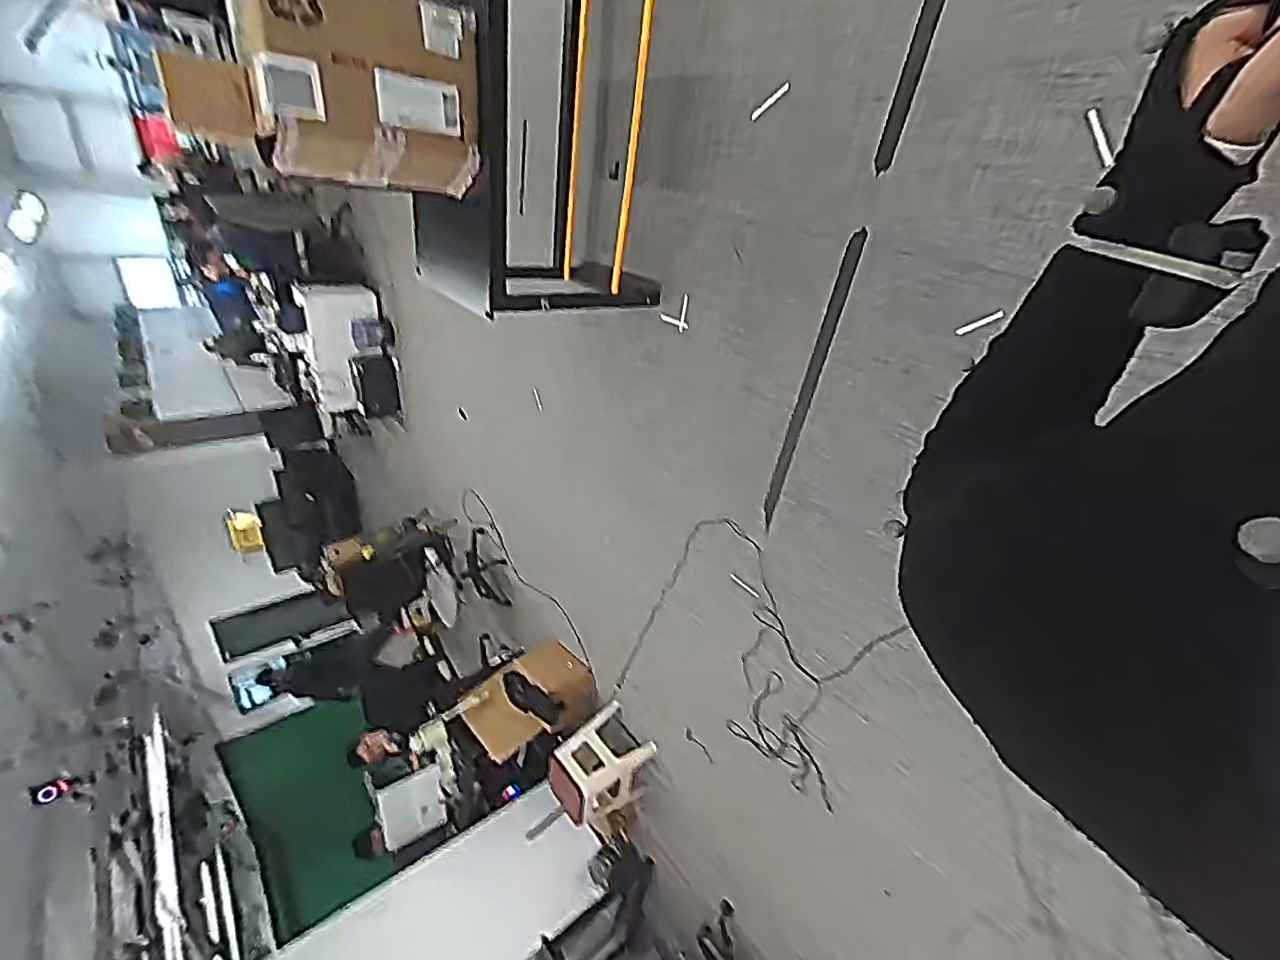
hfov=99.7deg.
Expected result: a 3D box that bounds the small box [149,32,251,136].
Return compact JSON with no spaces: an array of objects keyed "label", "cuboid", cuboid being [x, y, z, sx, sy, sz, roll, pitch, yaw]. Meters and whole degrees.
[{"label":"small box","cuboid":[-1.073,-0.958,1.326,0.179,0.176,0.168,32,124,43]}]
